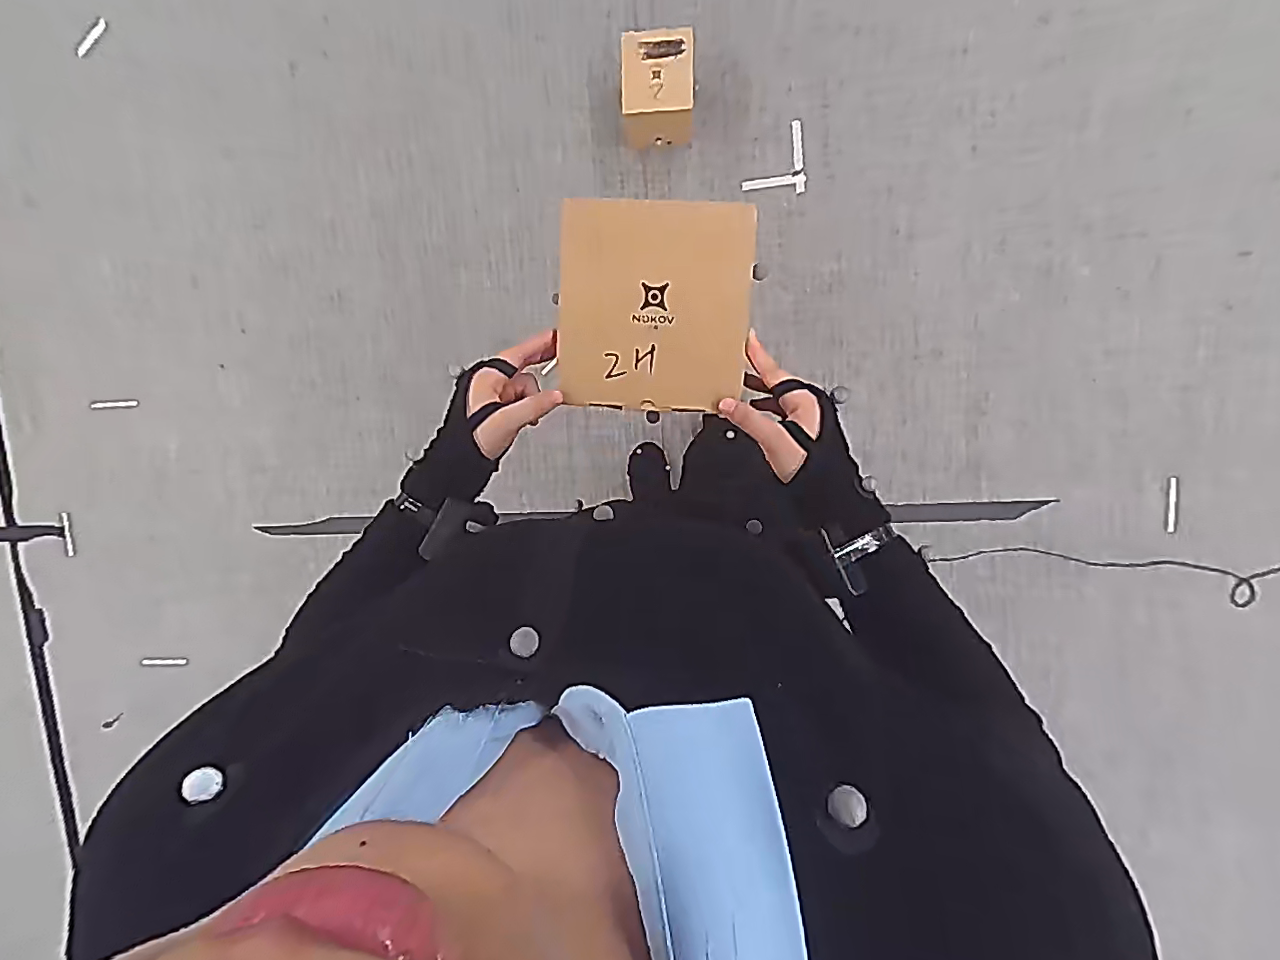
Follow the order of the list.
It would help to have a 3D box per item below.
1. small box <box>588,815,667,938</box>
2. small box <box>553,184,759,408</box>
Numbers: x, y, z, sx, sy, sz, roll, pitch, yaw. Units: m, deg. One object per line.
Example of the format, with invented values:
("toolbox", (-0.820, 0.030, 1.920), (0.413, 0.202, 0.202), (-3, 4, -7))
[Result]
("small box", (-0.024, 0.953, 1.310), (0.168, 0.176, 0.179), (-5, 95, 6))
("small box", (0.017, -0.165, 0.535), (0.168, 0.176, 0.179), (4, 98, 5))
